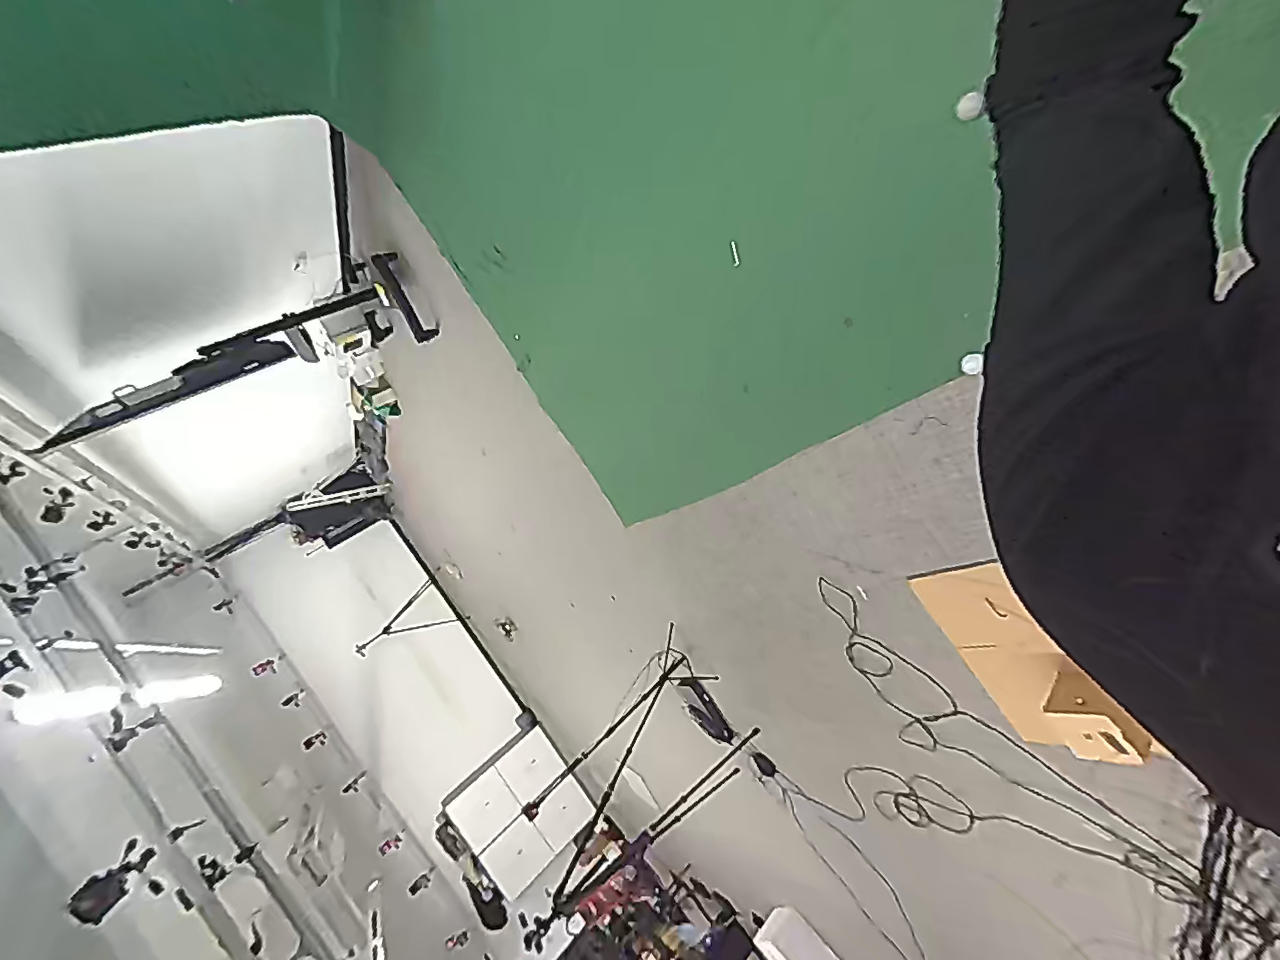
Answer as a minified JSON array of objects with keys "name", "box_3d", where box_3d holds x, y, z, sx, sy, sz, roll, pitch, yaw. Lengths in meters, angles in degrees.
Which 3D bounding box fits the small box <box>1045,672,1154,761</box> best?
[{"name":"small box","box_3d":[1.324,0.672,1.552,0.168,0.176,0.179,53,149,3]}]
